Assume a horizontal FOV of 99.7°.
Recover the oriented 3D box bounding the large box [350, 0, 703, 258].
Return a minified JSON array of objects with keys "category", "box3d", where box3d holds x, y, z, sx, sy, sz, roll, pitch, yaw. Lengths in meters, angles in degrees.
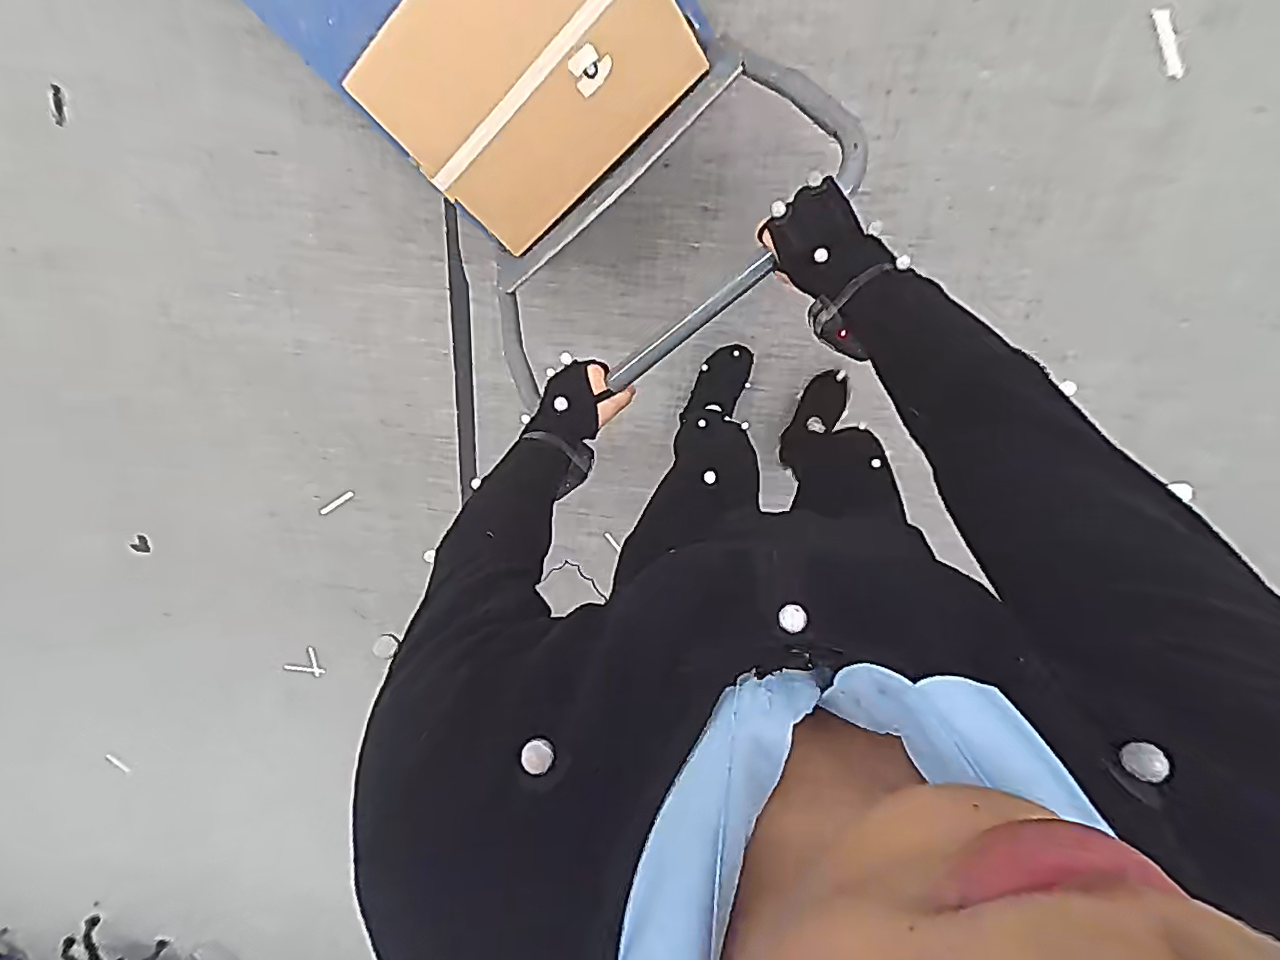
[{"category":"large box","box3d":[-0.176,-0.652,0.858,0.408,0.320,0.320,-37,130,19]}]
